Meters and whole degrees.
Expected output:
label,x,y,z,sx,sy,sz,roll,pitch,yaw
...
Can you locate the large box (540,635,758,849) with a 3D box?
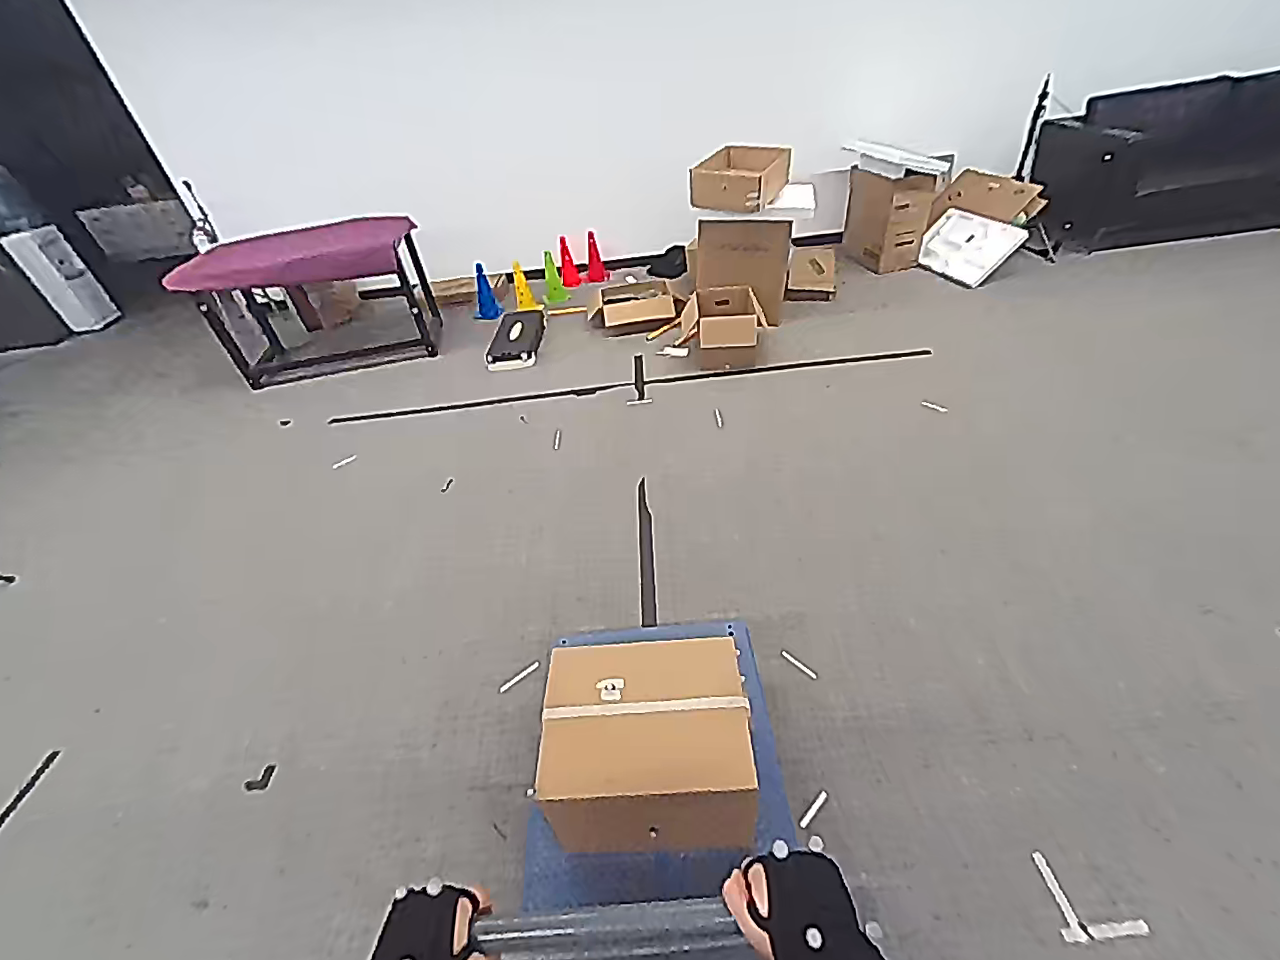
label,x,y,z,sx,sy,sz,roll,pitch,yaw
large box,0.027,0.575,1.185,0.408,0.320,0.320,-6,39,3
